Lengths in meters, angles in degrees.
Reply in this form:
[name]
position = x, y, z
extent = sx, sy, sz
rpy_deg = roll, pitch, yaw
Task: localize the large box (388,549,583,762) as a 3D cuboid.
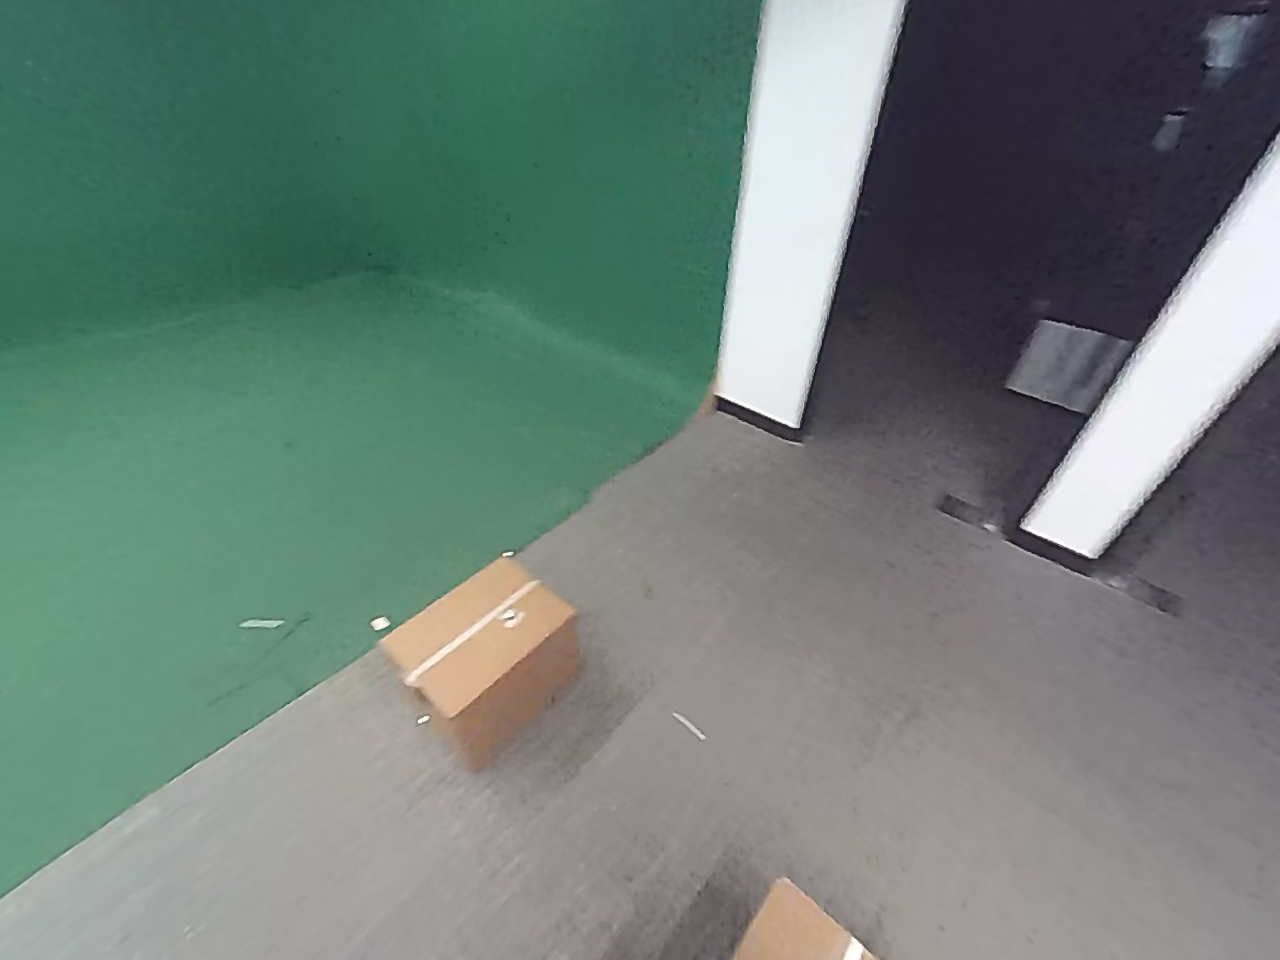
[large box]
position = -0.409, 0.479, 1.515
extent = 0.320, 0.320, 0.408
rpy_deg = 30, 47, 29
